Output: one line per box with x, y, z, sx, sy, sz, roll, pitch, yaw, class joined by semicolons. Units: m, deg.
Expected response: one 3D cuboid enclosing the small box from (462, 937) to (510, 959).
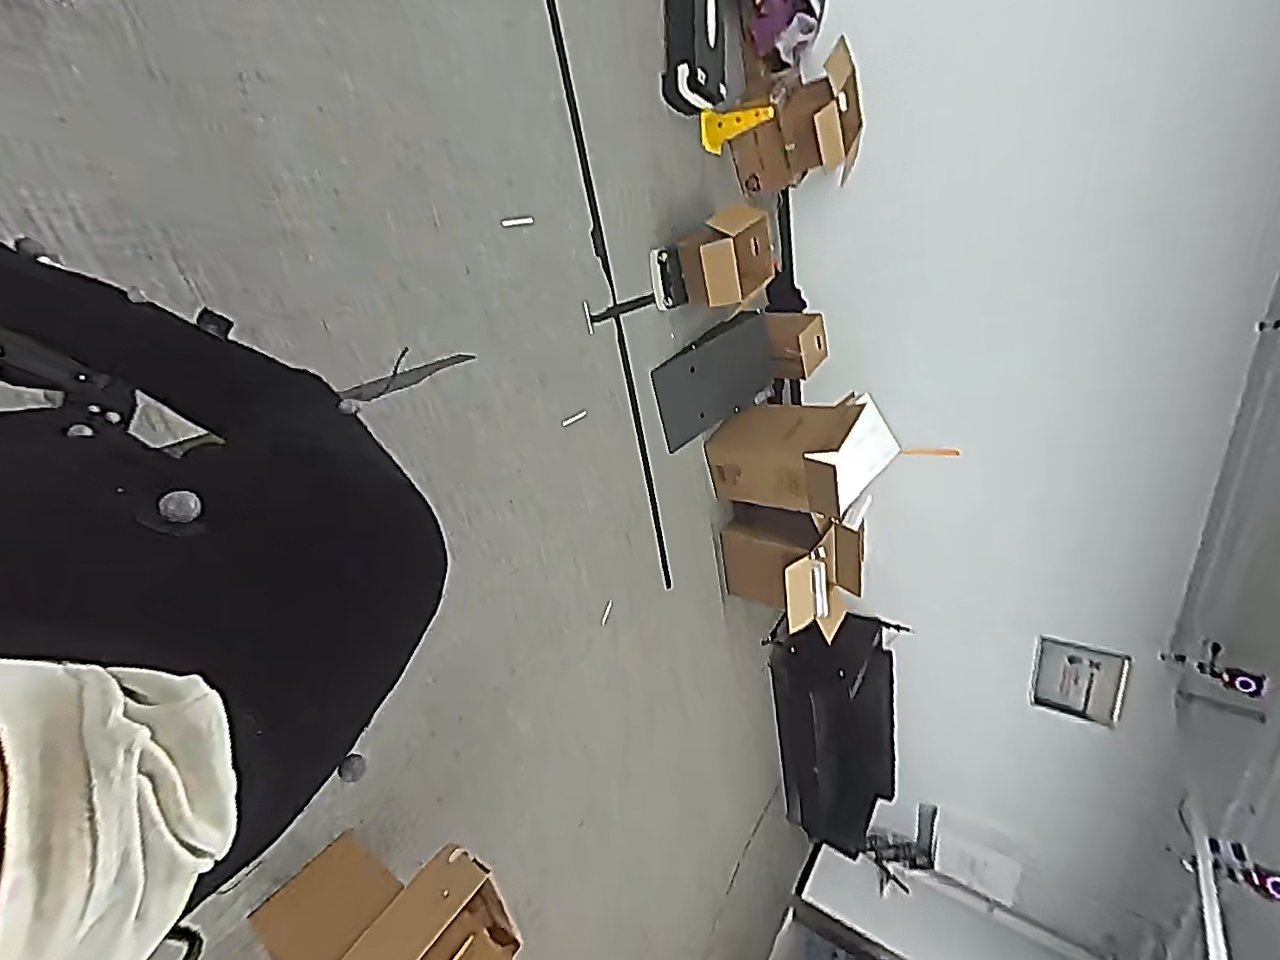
-0.404;1.382;1.442;0.168;0.176;0.179;-40;126;-43;small box
